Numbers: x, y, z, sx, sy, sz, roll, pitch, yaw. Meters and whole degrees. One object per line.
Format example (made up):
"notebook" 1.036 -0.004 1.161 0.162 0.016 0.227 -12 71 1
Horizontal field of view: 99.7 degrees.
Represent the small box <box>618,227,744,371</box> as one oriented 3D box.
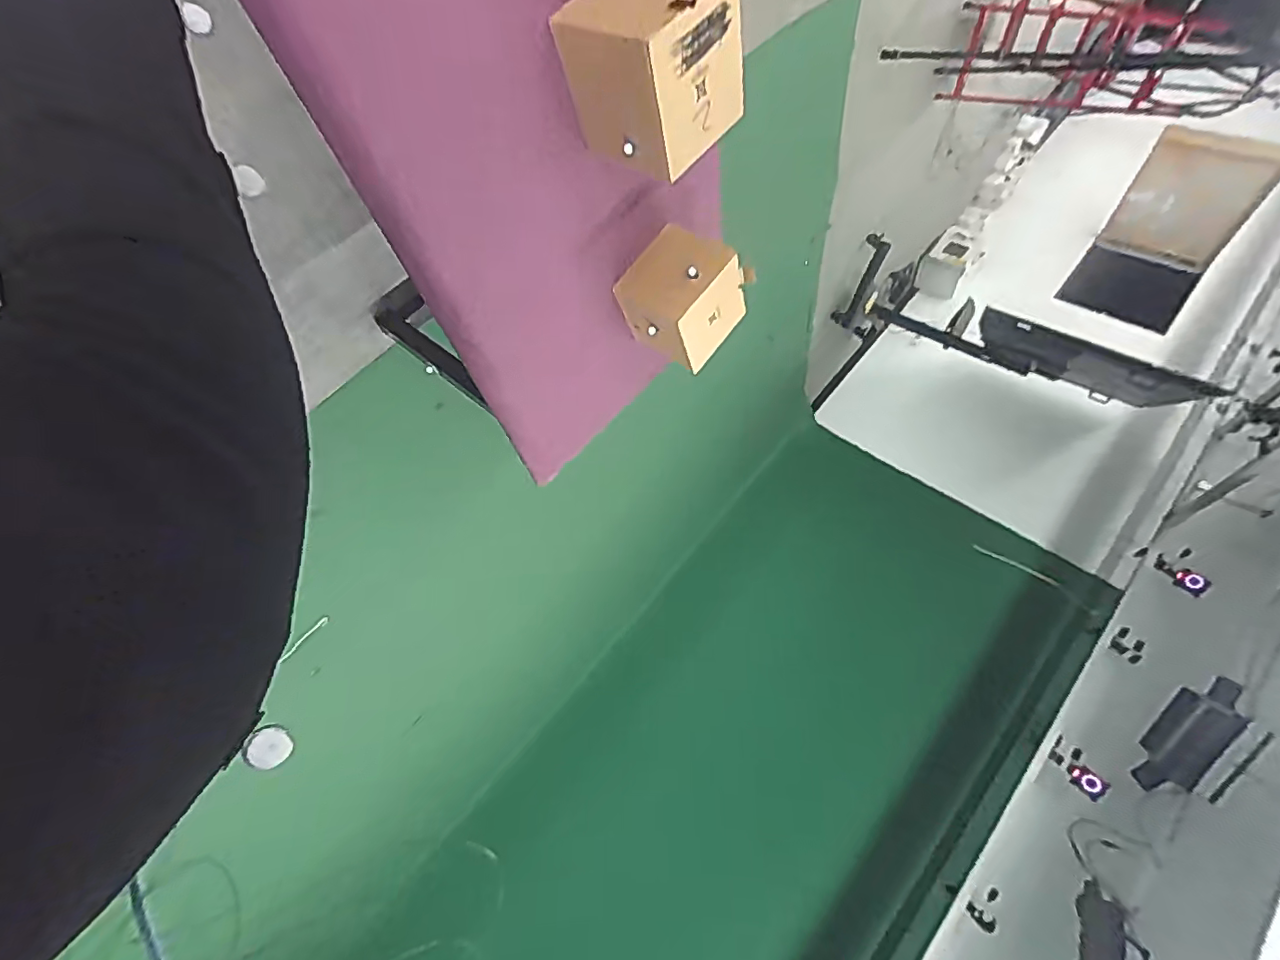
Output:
"small box" 0.076 -0.352 1.052 0.179 0.176 0.168 -51 153 -8
